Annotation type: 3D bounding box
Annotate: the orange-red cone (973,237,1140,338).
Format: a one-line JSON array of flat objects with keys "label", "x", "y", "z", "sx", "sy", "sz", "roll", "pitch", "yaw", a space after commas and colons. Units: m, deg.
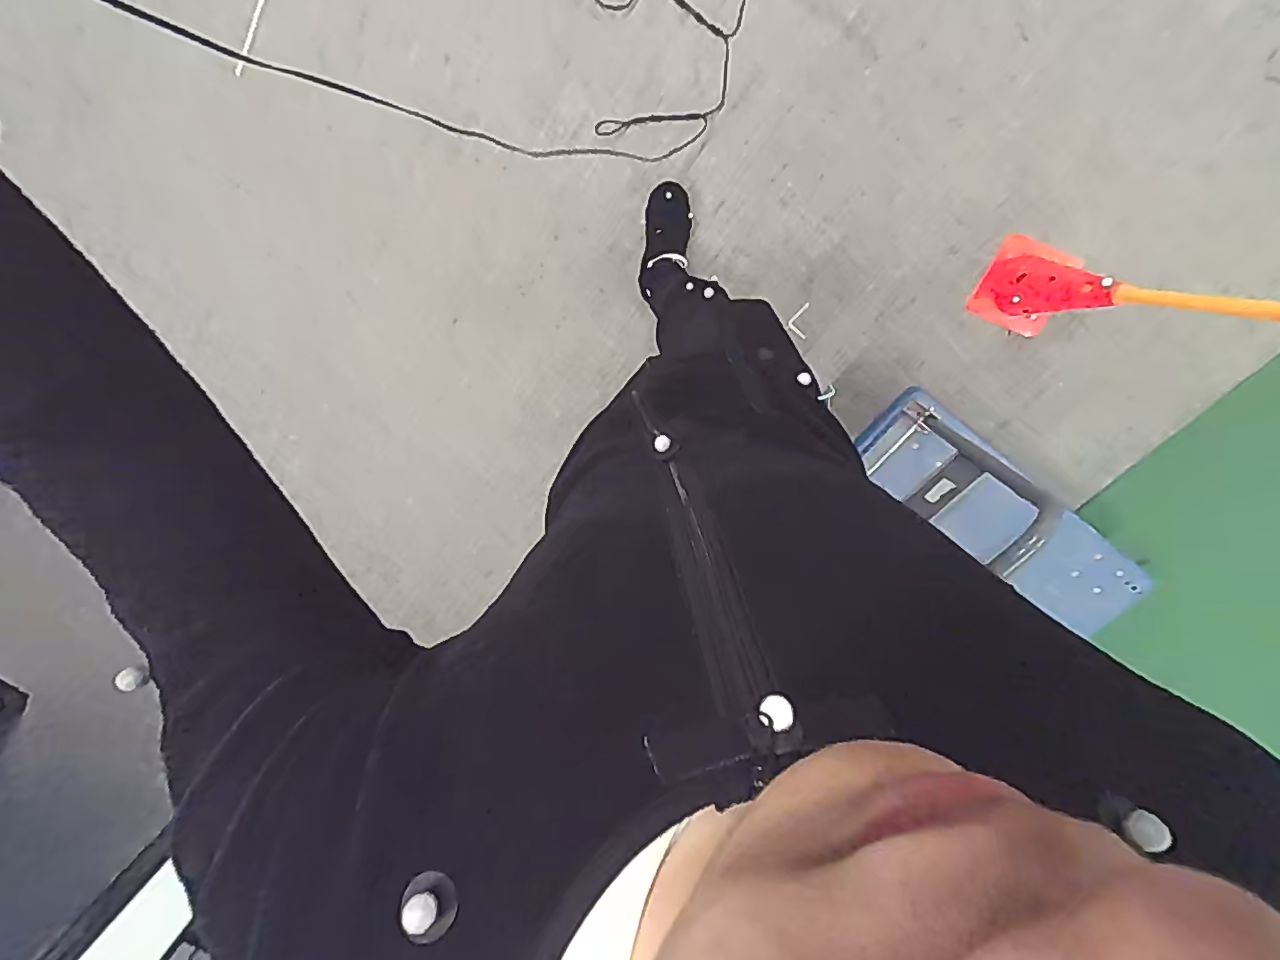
[{"label": "orange-red cone", "x": 0.946, "y": -0.415, "z": 1.187, "sx": 0.198, "sy": 0.360, "sz": 0.199, "roll": 23, "pitch": 111, "yaw": -3}]
